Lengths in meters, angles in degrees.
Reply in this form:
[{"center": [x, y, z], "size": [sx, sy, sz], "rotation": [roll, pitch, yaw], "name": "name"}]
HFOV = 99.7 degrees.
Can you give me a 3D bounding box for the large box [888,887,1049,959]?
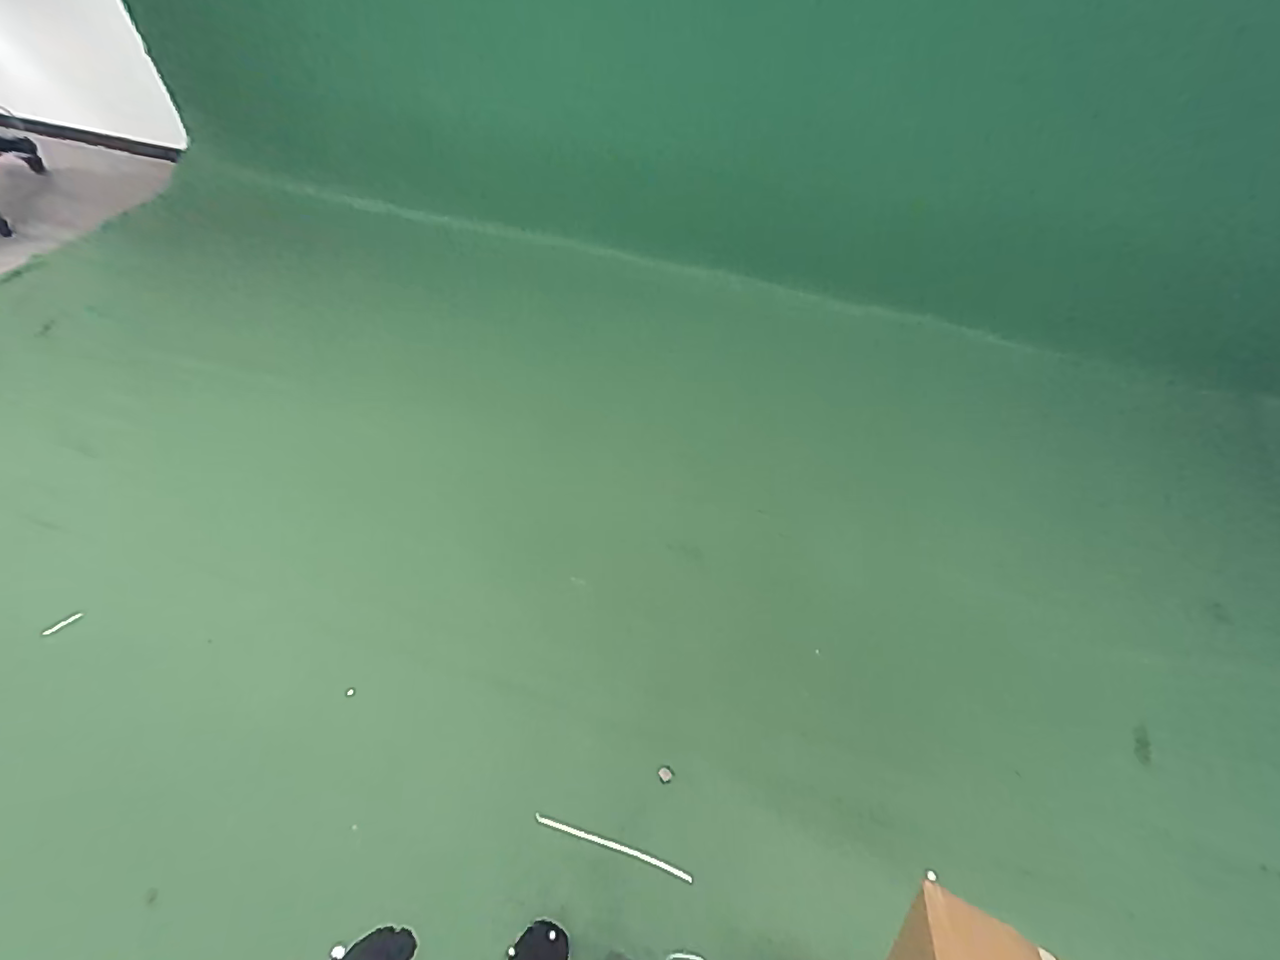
[{"center": [0.414, 0.773, 0.562], "size": [0.320, 0.408, 0.320], "rotation": [24, 94, 22], "name": "large box"}]
